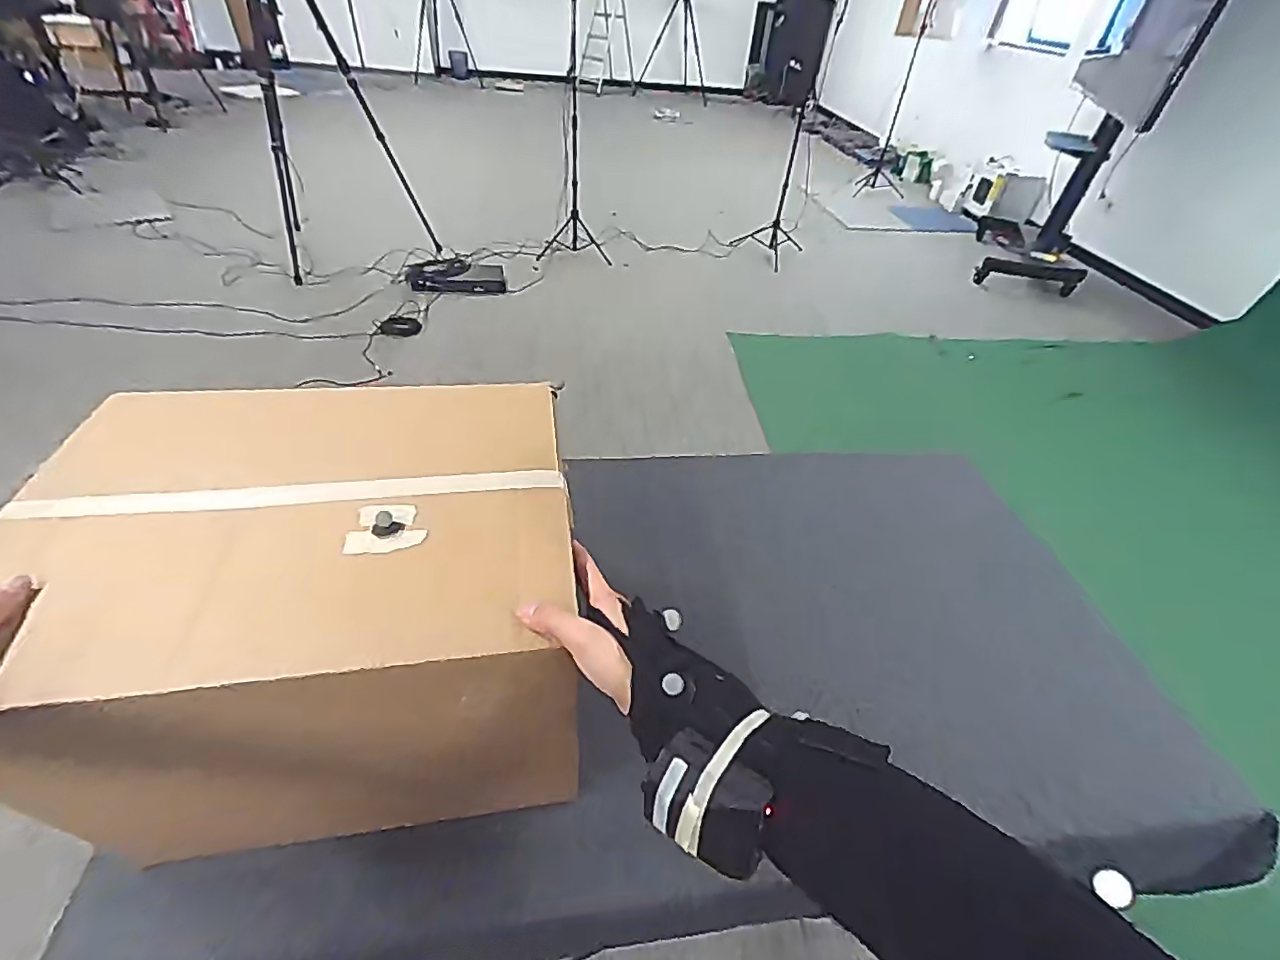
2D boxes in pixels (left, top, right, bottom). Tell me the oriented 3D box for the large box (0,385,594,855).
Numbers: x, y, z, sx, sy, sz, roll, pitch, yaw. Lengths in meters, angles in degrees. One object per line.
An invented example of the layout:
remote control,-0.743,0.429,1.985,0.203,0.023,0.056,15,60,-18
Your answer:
large box,-0.268,0.120,0.535,0.408,0.320,0.320,-3,44,-11
